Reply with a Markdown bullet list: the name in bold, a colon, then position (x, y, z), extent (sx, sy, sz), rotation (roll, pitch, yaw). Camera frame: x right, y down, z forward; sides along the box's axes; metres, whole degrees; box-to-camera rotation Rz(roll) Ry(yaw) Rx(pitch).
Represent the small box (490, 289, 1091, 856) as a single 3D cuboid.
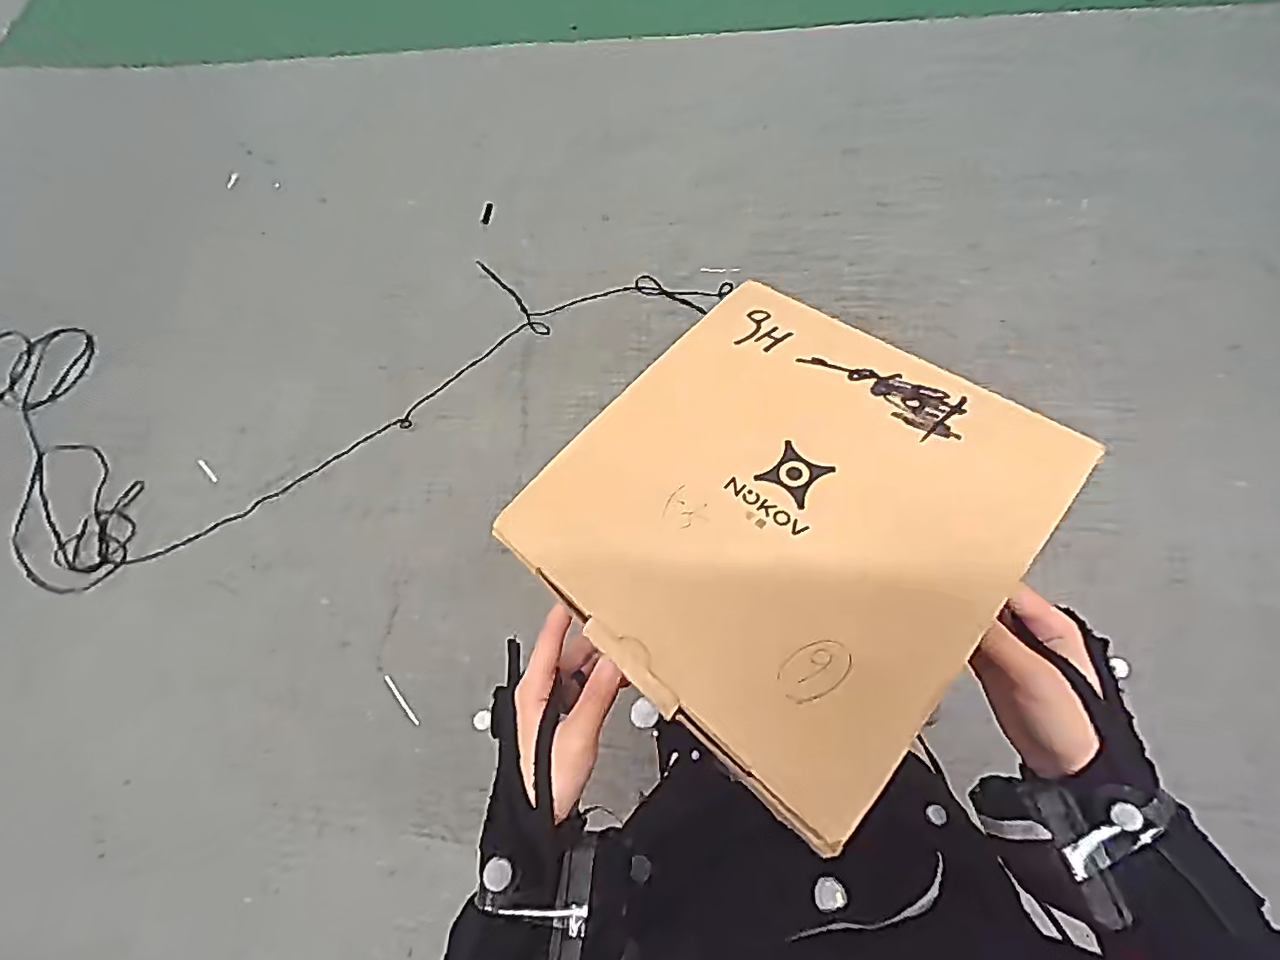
- **small box**: position (0.065, 0.046, 0.280), extent (0.168, 0.176, 0.179), rotation (37, 74, 26)
